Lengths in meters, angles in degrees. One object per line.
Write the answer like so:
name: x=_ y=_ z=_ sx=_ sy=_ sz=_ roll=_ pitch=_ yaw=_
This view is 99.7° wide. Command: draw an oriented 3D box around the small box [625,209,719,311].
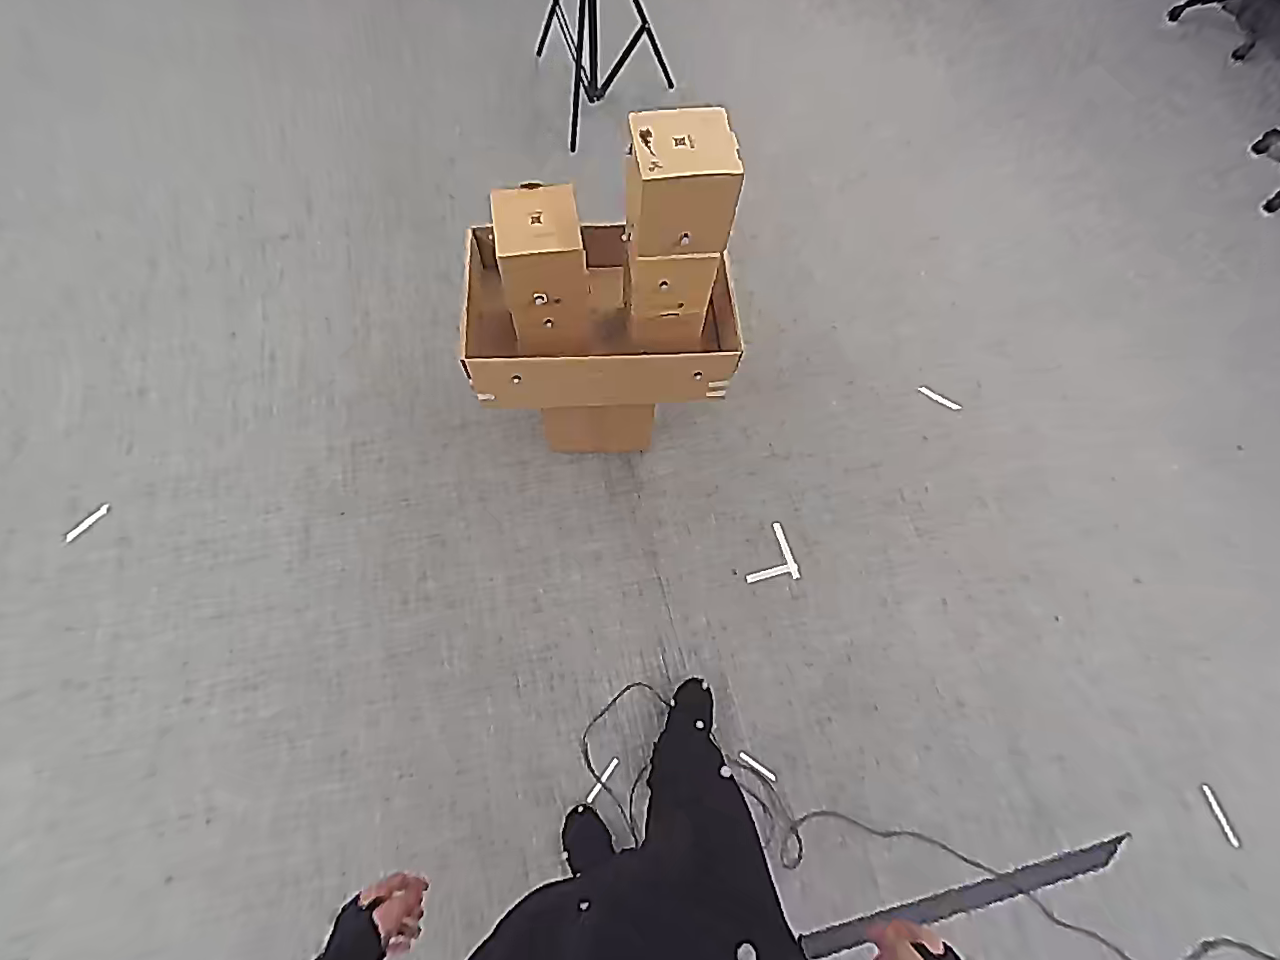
small box: x=0.059 y=-0.471 z=1.128 sx=0.168 sy=0.176 sz=0.179 roll=-5 pitch=67 yaw=-5

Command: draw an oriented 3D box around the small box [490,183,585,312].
small box: x=-0.206 y=-0.474 z=1.112 sx=0.168 sy=0.176 sz=0.179 roll=-8 pitch=68 yaw=-6

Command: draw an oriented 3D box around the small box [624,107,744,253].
small box: x=0.070 y=-0.537 z=0.978 sx=0.179 sy=0.176 sz=0.168 roll=-6 pitch=67 yaw=-6
